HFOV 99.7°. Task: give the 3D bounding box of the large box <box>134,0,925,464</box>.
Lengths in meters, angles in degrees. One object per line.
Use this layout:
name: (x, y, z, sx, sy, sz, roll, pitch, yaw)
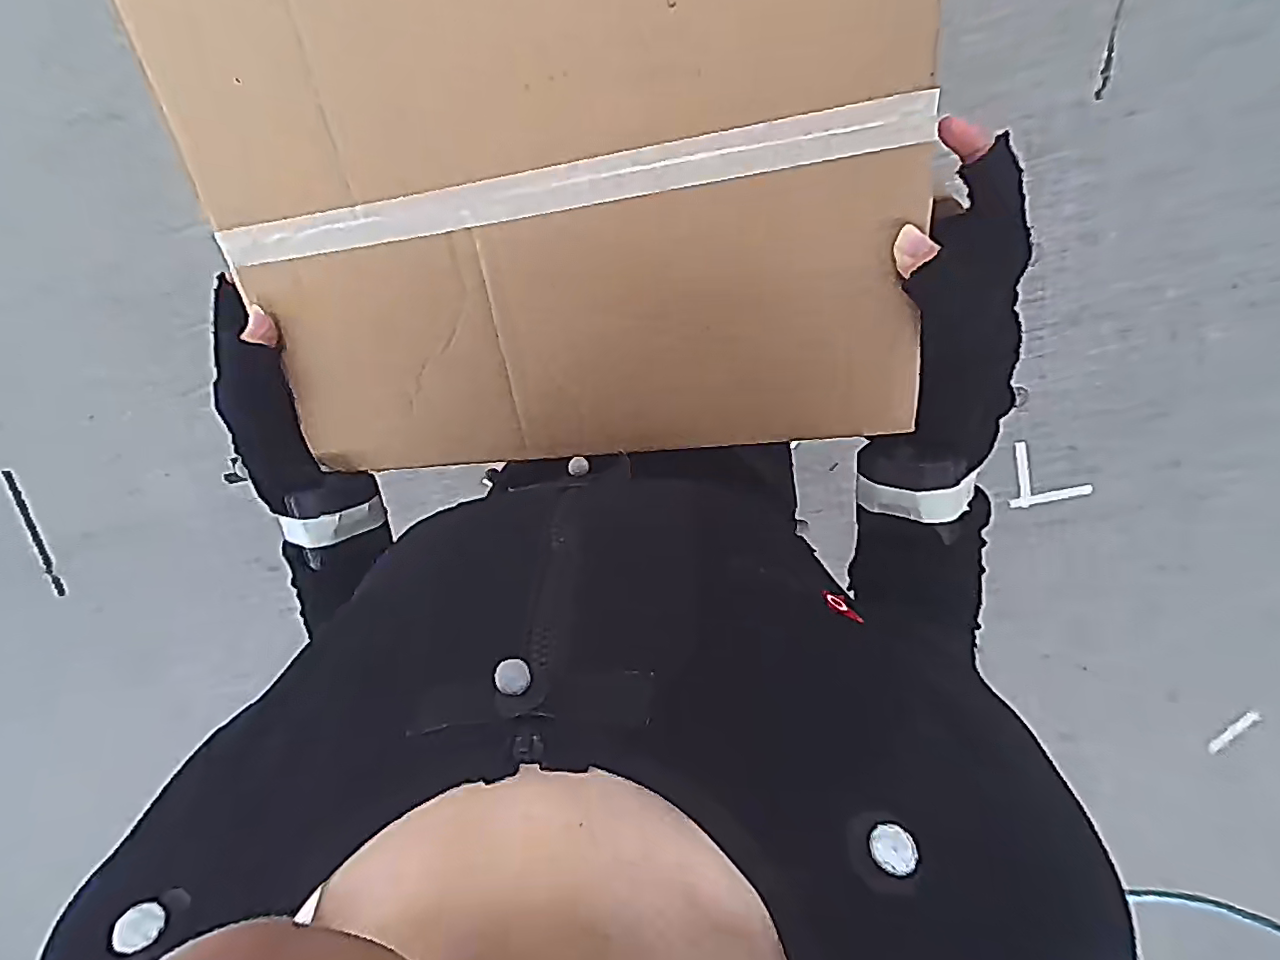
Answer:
large box: (-0.033, -0.230, 0.430, 0.408, 0.320, 0.320, -3, 116, 13)
